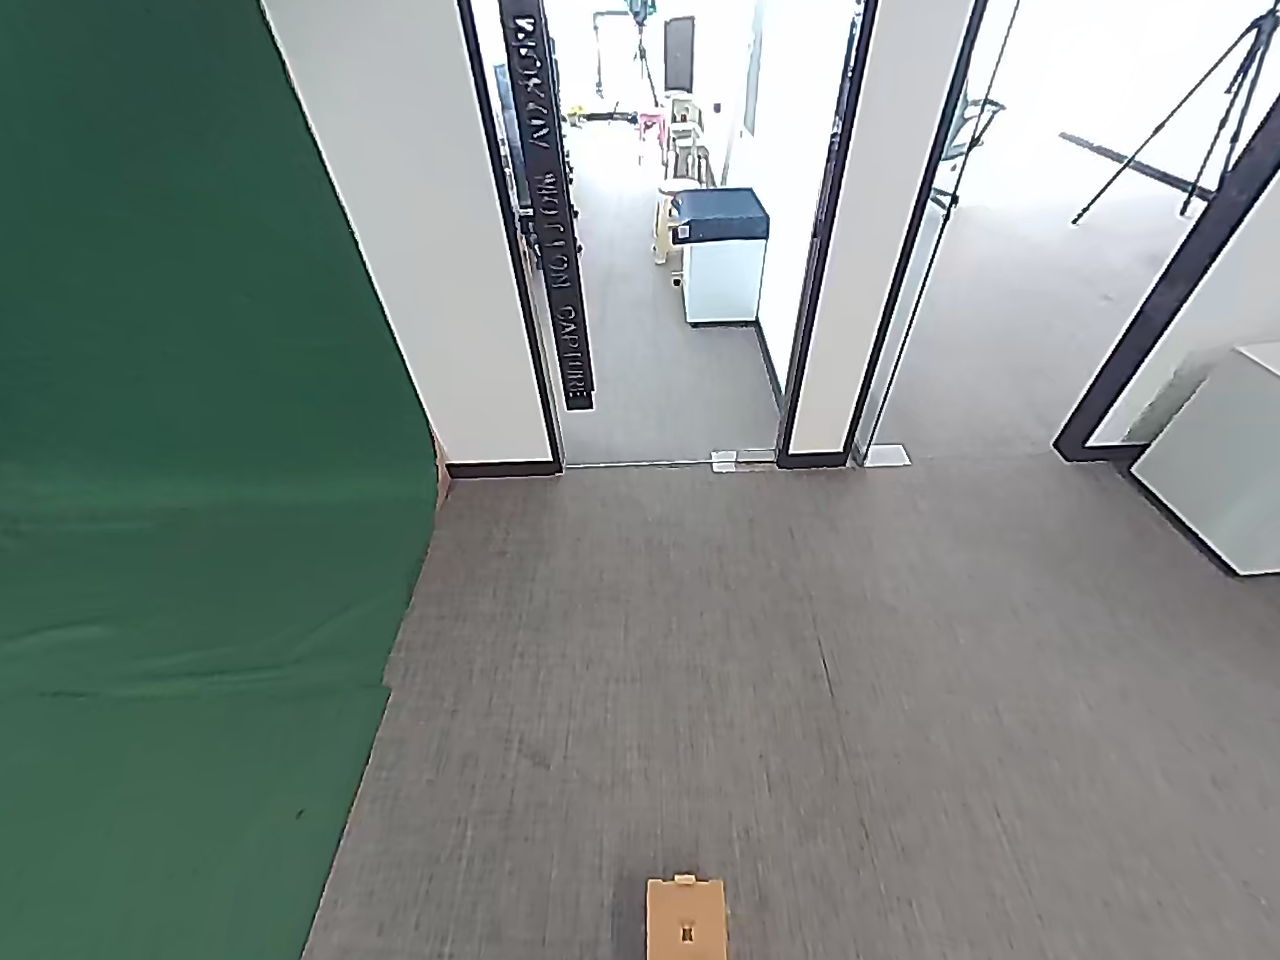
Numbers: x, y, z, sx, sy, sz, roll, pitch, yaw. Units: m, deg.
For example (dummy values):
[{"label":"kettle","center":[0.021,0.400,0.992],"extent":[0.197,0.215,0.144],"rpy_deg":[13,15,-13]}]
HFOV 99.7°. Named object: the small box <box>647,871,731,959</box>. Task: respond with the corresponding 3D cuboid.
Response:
[{"label":"small box","center":[0.104,0.957,1.148],"extent":[0.168,0.176,0.179],"rpy_deg":[-1,45,5]}]
